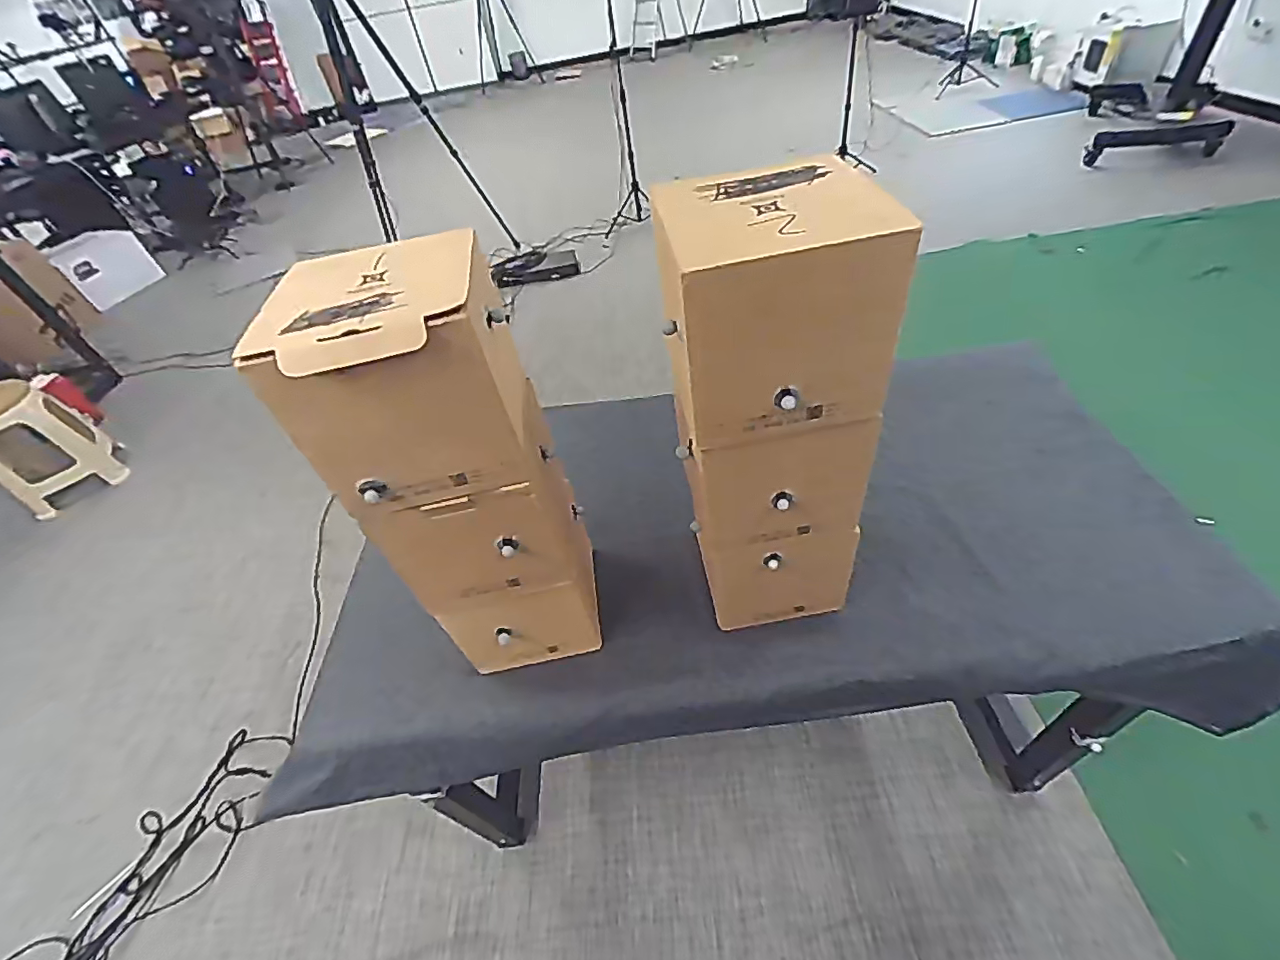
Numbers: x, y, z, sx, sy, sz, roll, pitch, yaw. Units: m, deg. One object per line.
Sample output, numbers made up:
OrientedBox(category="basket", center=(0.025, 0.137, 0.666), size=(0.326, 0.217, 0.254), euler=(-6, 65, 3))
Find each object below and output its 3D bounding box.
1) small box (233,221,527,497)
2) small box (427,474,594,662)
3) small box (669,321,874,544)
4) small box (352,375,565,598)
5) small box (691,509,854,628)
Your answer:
OrientedBox(category="small box", center=(-0.203, -0.102, 0.484), size=(0.168, 0.176, 0.179), euler=(-12, 44, -3))
OrientedBox(category="small box", center=(-0.160, 0.123, 0.717), size=(0.168, 0.176, 0.179), euler=(-11, 45, -1))
OrientedBox(category="small box", center=(0.131, -0.045, 0.594), size=(0.168, 0.176, 0.179), euler=(-10, 45, 0))
OrientedBox(category="small box", center=(-0.183, 0.013, 0.599), size=(0.168, 0.176, 0.179), euler=(-11, 44, -2))
OrientedBox(category="small box", center=(0.159, 0.067, 0.713), size=(0.168, 0.176, 0.179), euler=(-11, 45, 1))
